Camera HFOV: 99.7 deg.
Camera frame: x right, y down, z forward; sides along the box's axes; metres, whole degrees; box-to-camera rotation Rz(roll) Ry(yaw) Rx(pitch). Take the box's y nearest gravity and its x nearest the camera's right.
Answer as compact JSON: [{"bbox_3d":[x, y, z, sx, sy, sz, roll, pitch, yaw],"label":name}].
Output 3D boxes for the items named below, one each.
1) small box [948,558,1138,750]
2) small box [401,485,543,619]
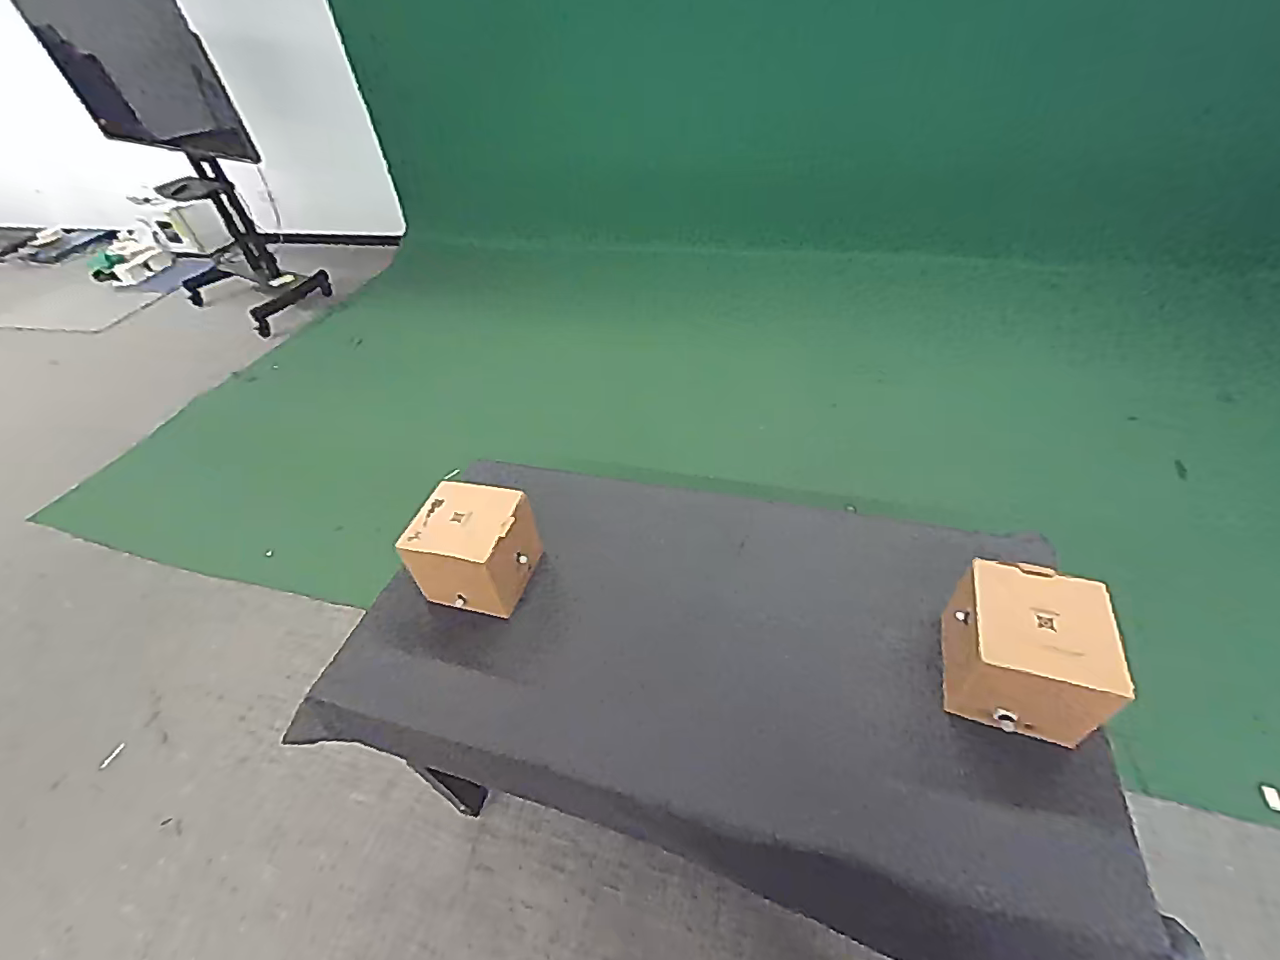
[{"bbox_3d":[0.552,0.245,0.770,0.168,0.176,0.179,11,47,21],"label":"small box"},{"bbox_3d":[-0.298,0.136,1.008,0.179,0.176,0.168,9,46,14],"label":"small box"}]
